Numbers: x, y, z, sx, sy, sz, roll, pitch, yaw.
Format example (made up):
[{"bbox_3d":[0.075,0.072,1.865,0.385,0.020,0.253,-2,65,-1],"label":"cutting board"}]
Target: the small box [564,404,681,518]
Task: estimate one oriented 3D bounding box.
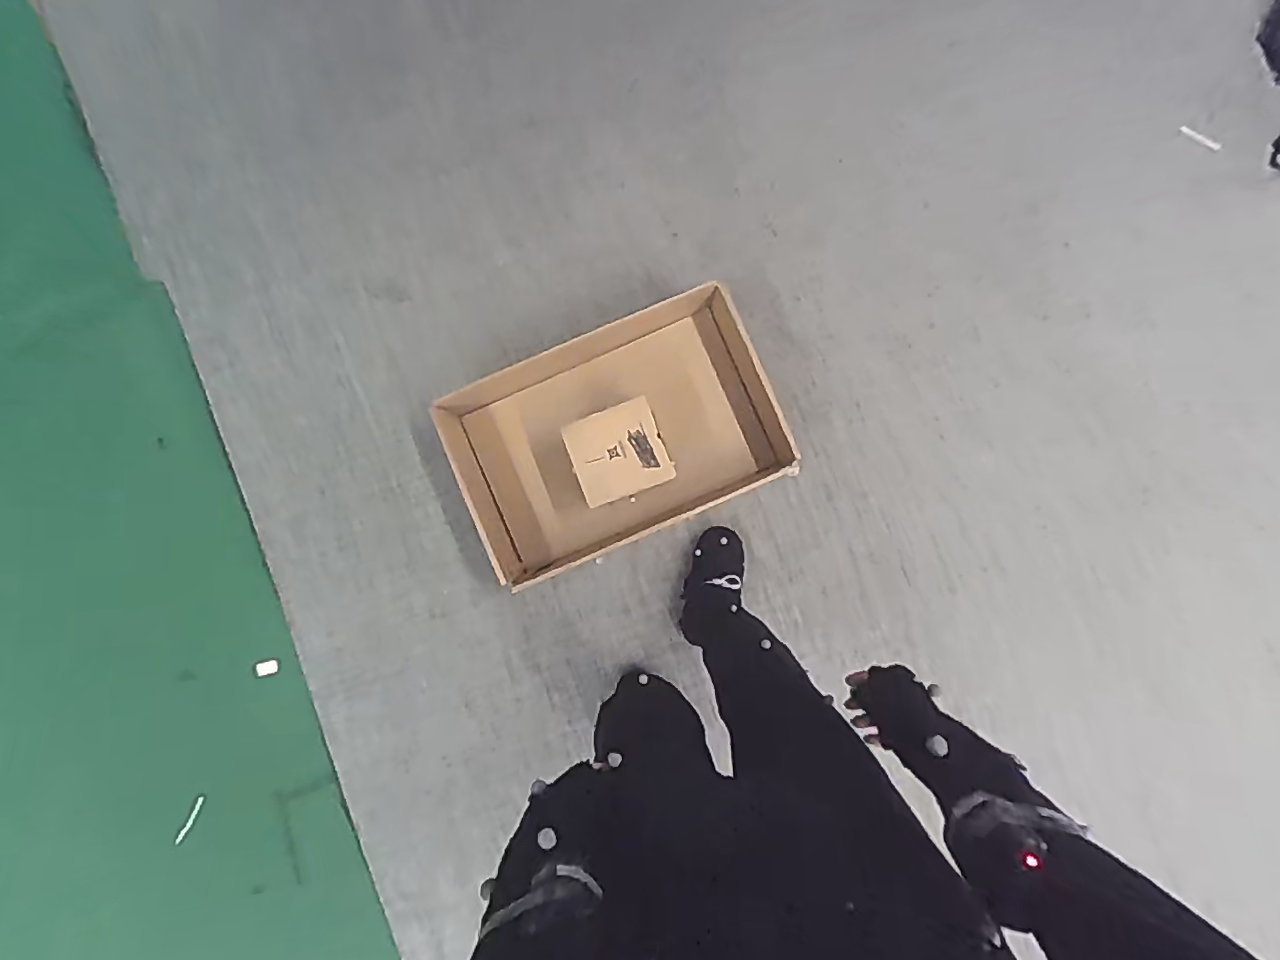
[{"bbox_3d":[-0.033,-0.035,1.083,0.179,0.176,0.168,-24,88,0],"label":"small box"}]
